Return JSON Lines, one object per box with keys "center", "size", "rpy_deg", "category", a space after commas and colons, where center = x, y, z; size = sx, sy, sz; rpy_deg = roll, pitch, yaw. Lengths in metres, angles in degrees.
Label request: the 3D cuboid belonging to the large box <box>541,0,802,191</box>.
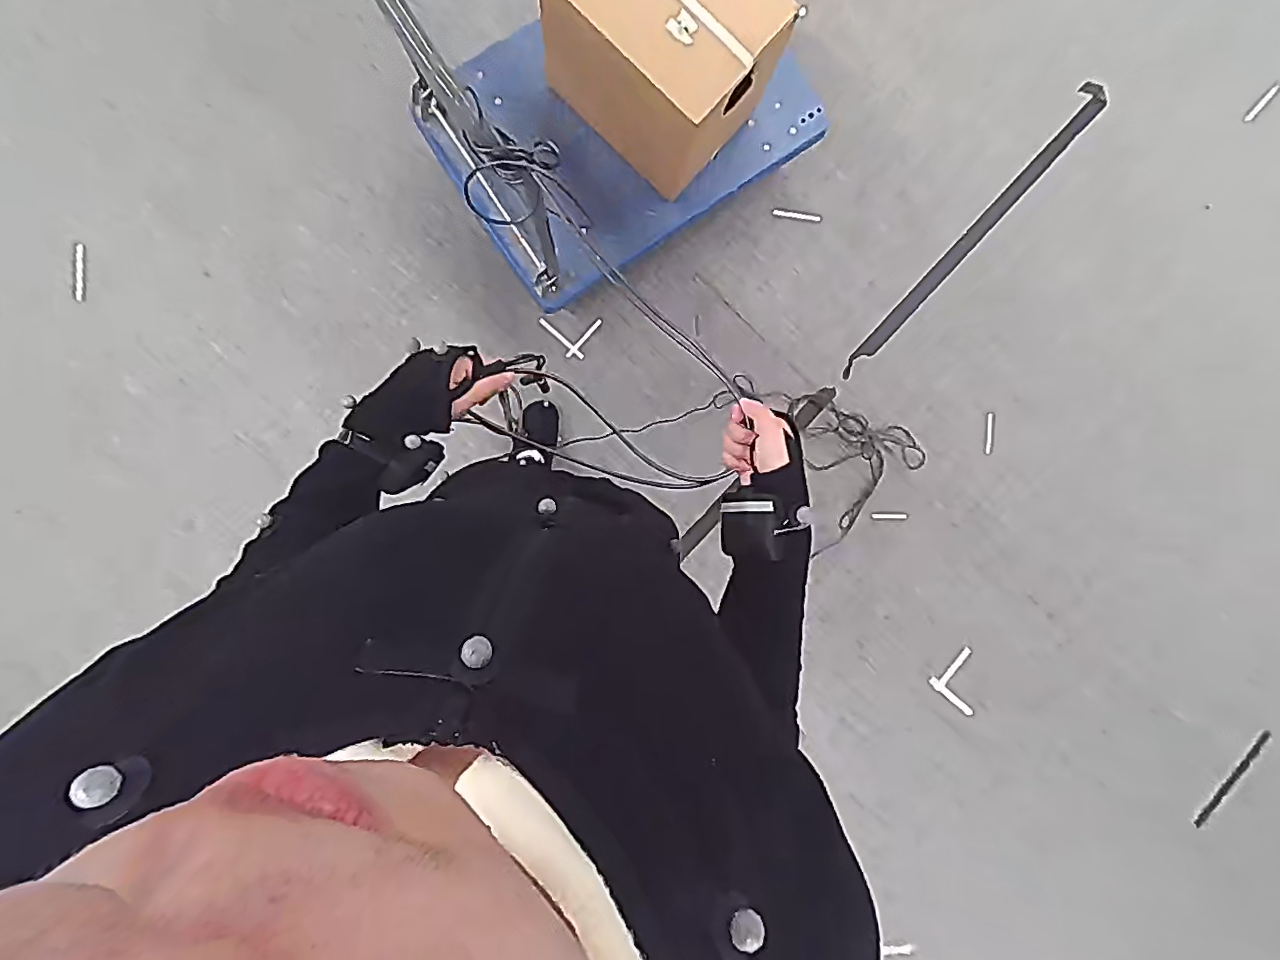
{"center": [0.043, -0.923, 1.137], "size": [0.408, 0.320, 0.320], "rpy_deg": [41, 89, -7], "category": "large box"}
